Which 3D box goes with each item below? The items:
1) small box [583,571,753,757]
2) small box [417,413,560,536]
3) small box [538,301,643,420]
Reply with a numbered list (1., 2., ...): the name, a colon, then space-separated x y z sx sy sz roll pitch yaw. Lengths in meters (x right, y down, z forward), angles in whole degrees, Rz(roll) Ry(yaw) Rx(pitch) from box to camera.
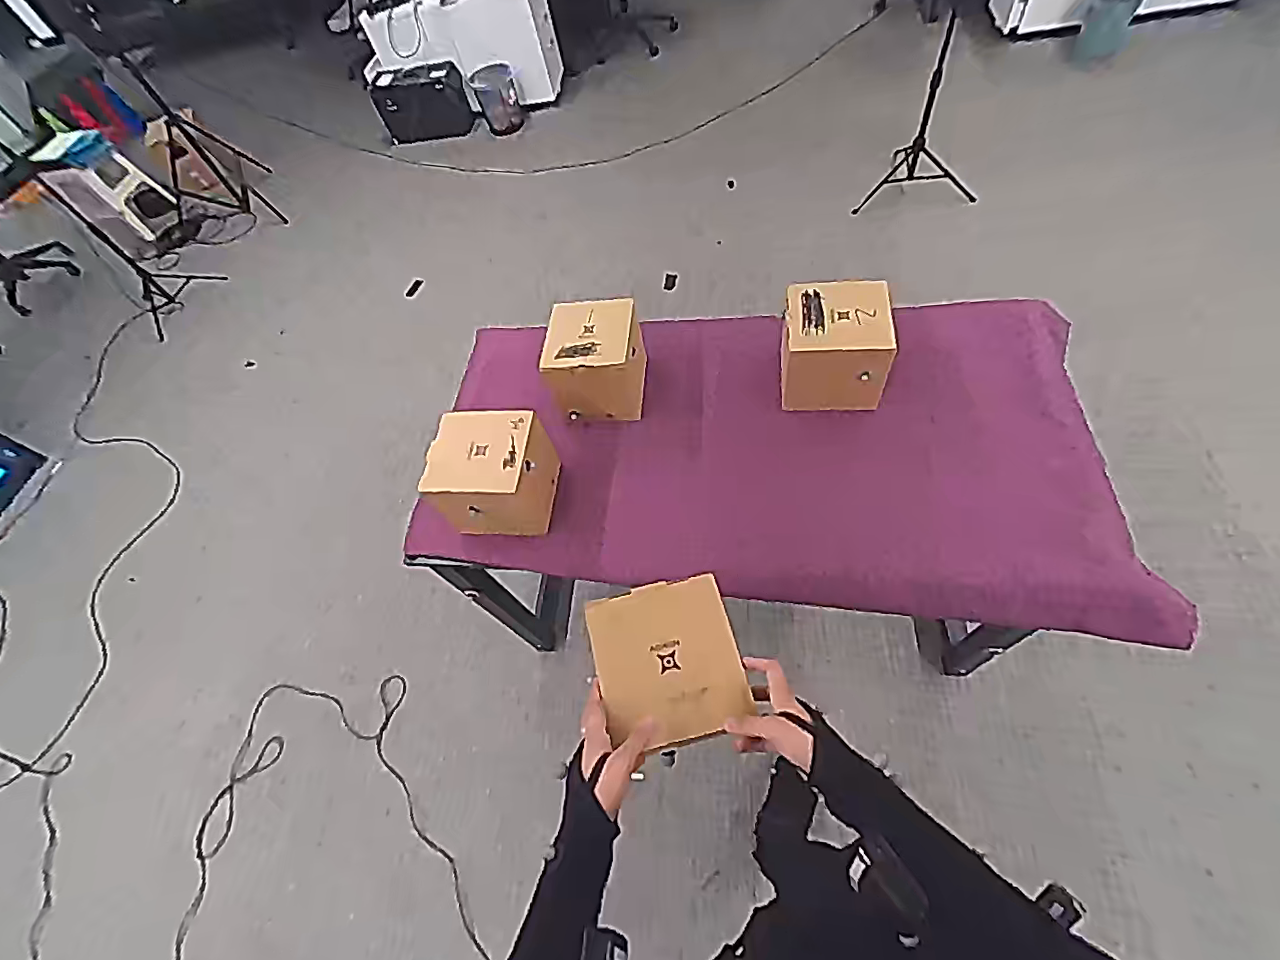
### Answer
1. small box: 0.025 0.240 0.693 0.168 0.176 0.179 -12 62 -7
2. small box: -0.264 -0.006 0.987 0.179 0.176 0.168 0 60 11
3. small box: -0.090 -0.233 1.092 0.168 0.176 0.179 -1 59 10
